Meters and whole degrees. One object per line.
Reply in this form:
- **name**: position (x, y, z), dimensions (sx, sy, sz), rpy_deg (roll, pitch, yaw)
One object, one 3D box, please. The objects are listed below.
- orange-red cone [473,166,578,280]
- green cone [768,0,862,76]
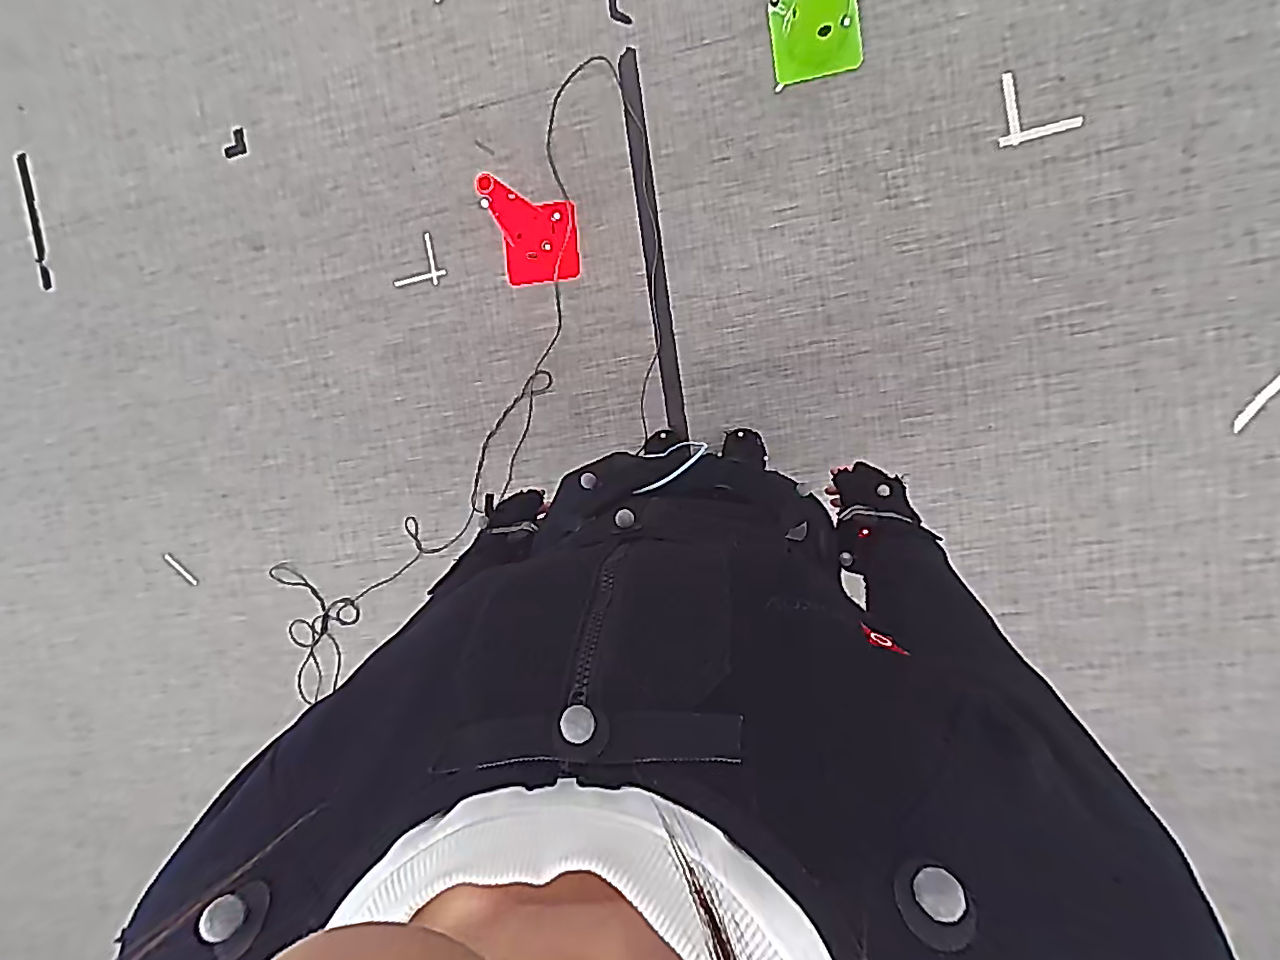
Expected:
- **orange-red cone**: position (-0.288, -0.614, 1.240), dimensions (0.199, 0.360, 0.198), rpy_deg (-3, 94, 10)
- **green cone**: position (0.387, -1.045, 1.095), dimensions (0.202, 0.368, 0.200), rpy_deg (-8, 94, 8)
